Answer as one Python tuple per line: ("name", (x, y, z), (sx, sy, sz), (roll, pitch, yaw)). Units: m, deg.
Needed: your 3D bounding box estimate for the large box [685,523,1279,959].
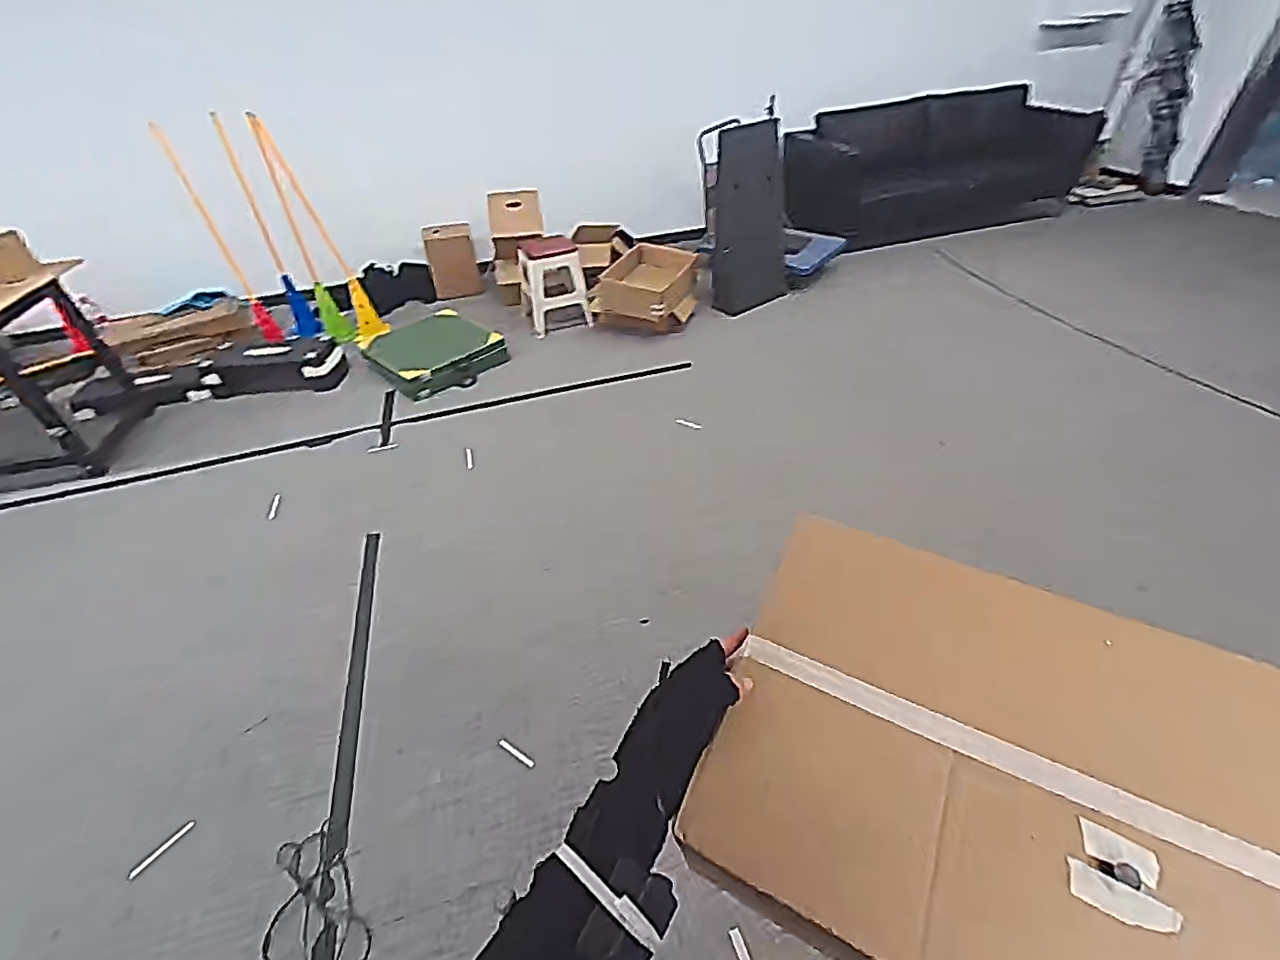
("large box", (0.286, 0.302, 0.529), (0.408, 0.320, 0.320), (19, 57, 21))
